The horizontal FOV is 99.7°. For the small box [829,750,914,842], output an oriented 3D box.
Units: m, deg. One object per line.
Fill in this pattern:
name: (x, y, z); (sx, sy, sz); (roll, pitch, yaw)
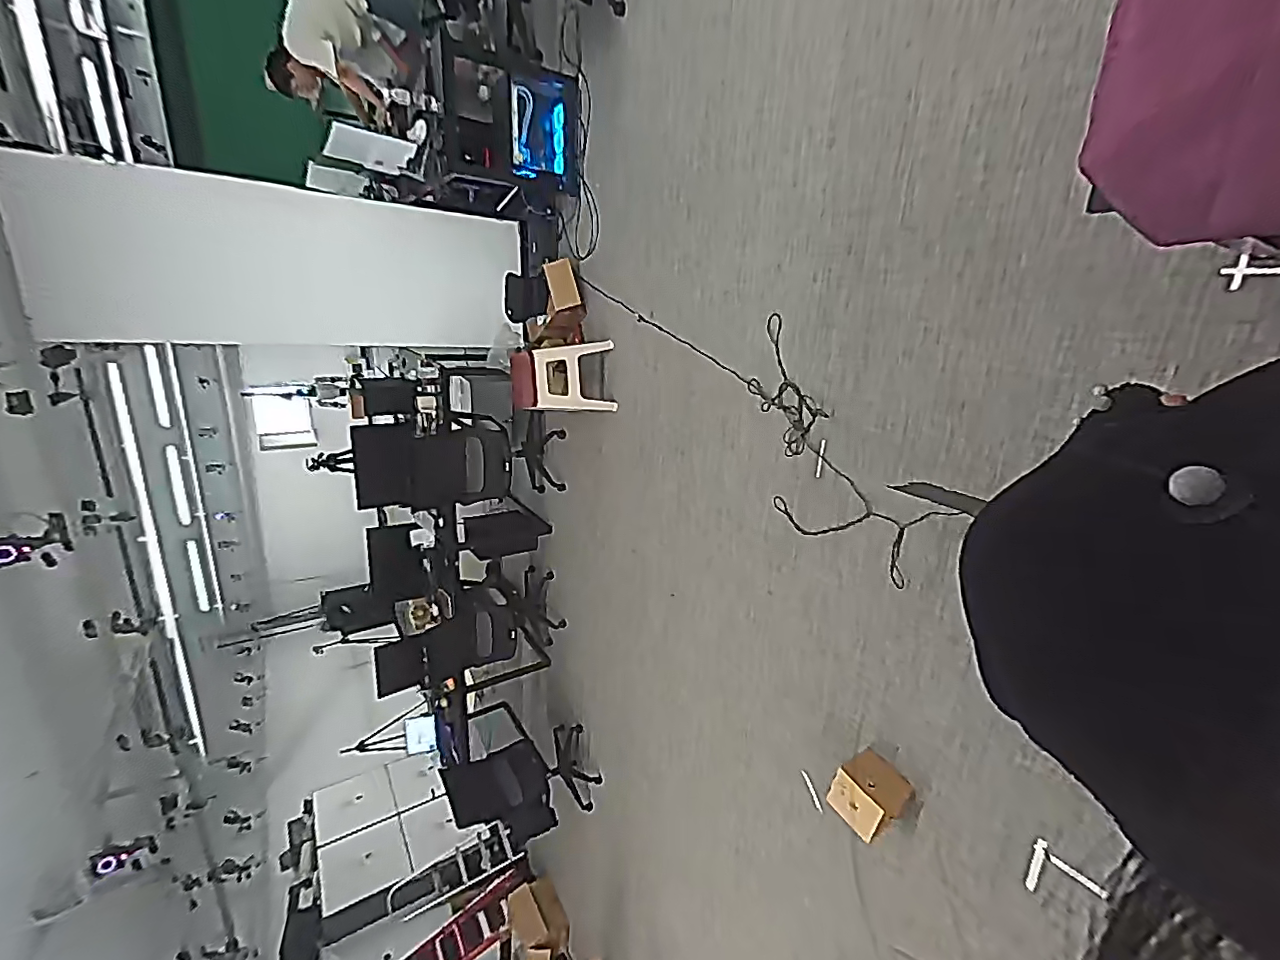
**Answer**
small box: (0.769, 1.040, 1.795); (0.179, 0.176, 0.168); (39, 128, 47)
